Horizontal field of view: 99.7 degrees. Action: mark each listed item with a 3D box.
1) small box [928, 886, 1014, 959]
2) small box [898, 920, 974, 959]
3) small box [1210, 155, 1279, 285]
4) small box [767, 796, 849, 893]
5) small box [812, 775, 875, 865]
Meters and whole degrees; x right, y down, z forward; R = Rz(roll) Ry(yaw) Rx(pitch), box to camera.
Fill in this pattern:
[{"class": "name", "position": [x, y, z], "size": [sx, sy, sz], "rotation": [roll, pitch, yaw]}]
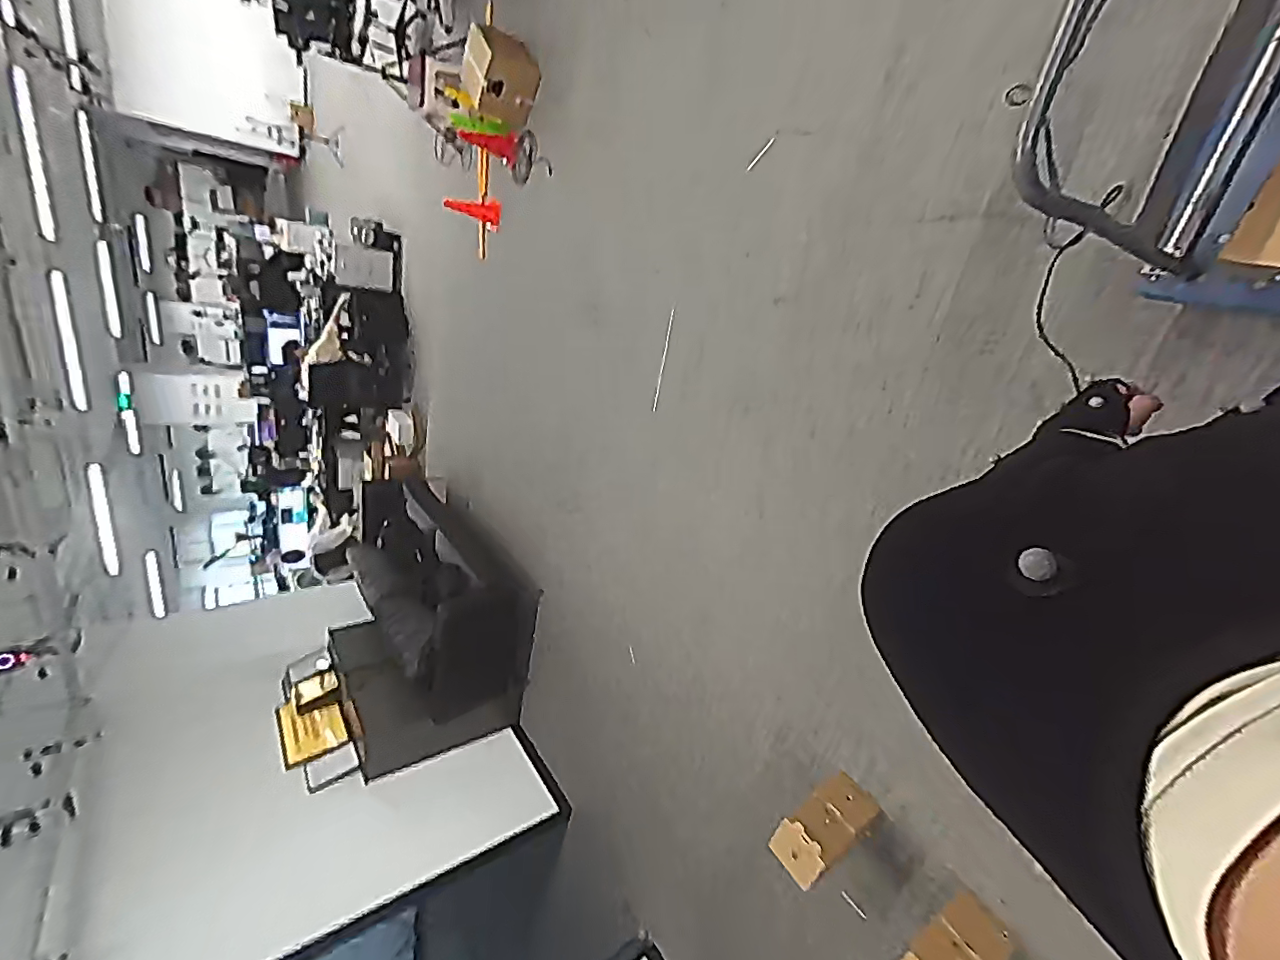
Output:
[{"class": "small box", "position": [0.960, 1.356, 1.592], "size": [0.168, 0.176, 0.179], "rotation": [40, 125, 43]}, {"class": "small box", "position": [0.814, 1.381, 1.491], "size": [0.168, 0.176, 0.179], "rotation": [40, 124, 42]}, {"class": "small box", "position": [1.100, -0.412, 0.881], "size": [0.179, 0.176, 0.168], "rotation": [37, 123, 43]}, {"class": "small box", "position": [0.558, 1.198, 1.787], "size": [0.168, 0.176, 0.179], "rotation": [41, 125, 40]}, {"class": "small box", "position": [0.689, 1.176, 1.885], "size": [0.168, 0.176, 0.179], "rotation": [36, 121, 44]}]
